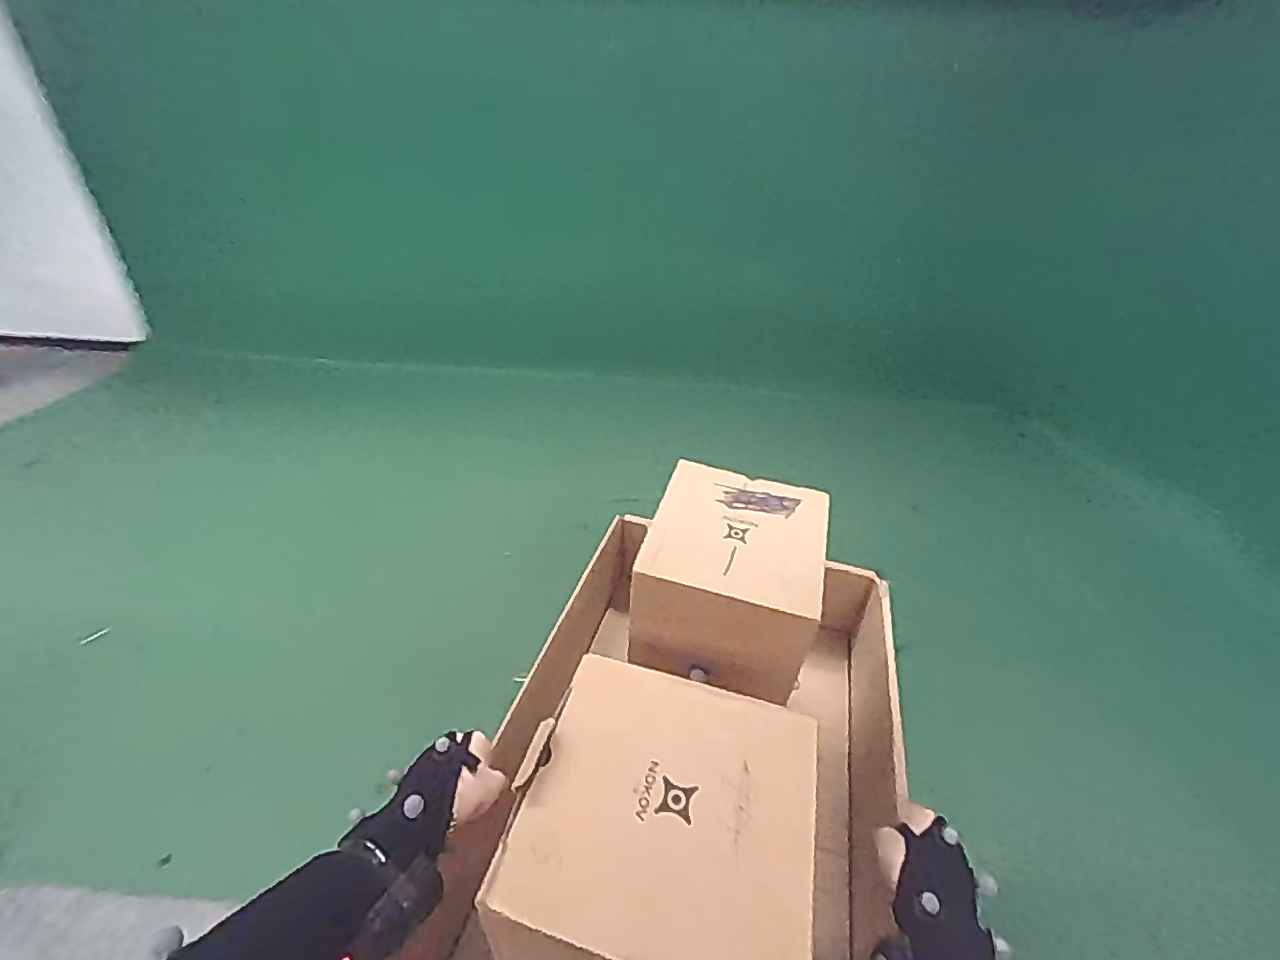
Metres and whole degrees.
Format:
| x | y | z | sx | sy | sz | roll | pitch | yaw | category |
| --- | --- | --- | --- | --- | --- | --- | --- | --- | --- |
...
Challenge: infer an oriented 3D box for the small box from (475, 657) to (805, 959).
| x | y | z | sx | sy | sz | roll | pitch | yaw | category |
| --- | --- | --- | --- | --- | --- | --- | --- | --- | --- |
| 0.008 | 0.263 | 0.388 | 0.179 | 0.176 | 0.168 | 13 | 39 | 10 | small box |

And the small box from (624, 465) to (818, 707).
| x | y | z | sx | sy | sz | roll | pitch | yaw | category |
| --- | --- | --- | --- | --- | --- | --- | --- | --- | --- |
| 0.084 | 0.114 | 0.582 | 0.168 | 0.176 | 0.179 | 13 | 41 | 11 | small box |
